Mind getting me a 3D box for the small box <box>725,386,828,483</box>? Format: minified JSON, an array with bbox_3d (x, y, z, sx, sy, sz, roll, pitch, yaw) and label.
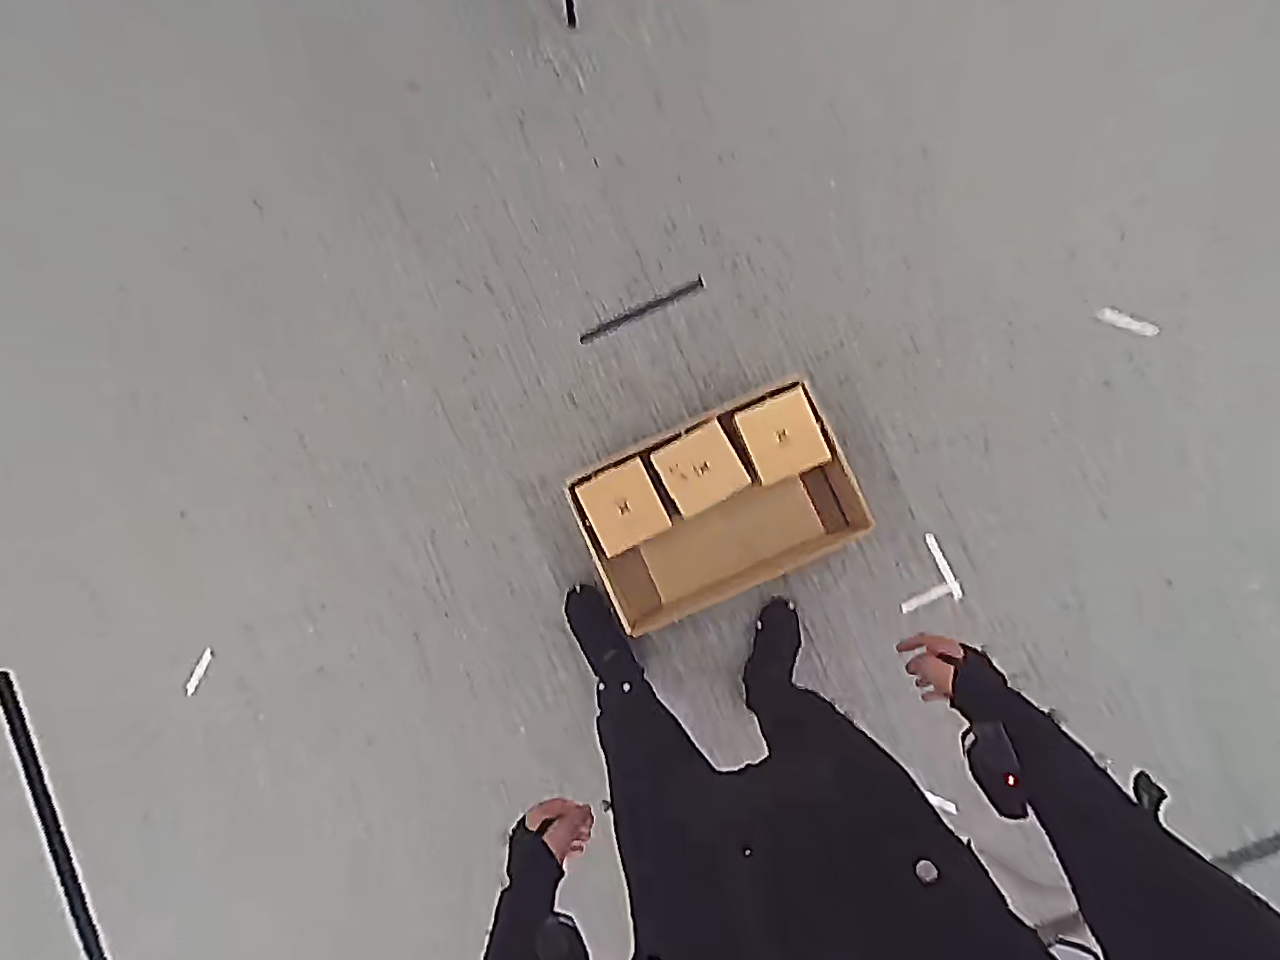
[{"bbox_3d":[0.314,-0.101,1.283,0.168,0.176,0.179,-24,90,2],"label":"small box"}]
